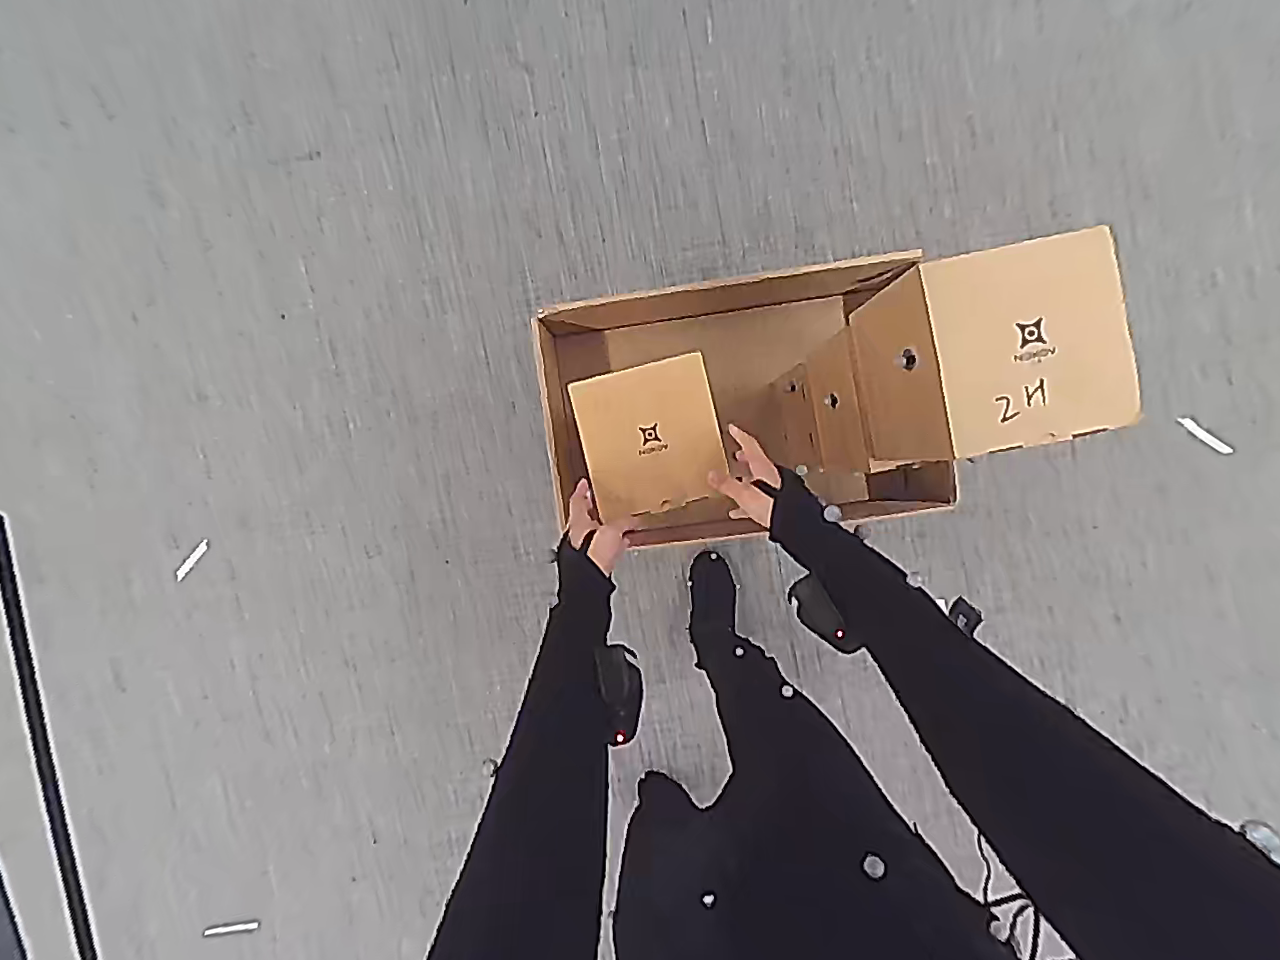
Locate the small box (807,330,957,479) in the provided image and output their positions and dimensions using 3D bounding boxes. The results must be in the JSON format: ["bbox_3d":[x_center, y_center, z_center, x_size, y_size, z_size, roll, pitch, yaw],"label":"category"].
[{"bbox_3d":[0.333,-0.104,0.704,0.168,0.176,0.179,-11,91,1],"label":"small box"}]

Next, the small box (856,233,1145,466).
[{"bbox_3d":[0.335,-0.113,0.539,0.168,0.176,0.179,-11,92,1],"label":"small box"}]

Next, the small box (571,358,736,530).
[{"bbox_3d":[0.017,-0.045,0.717,0.168,0.176,0.179,-14,93,2],"label":"small box"}]
